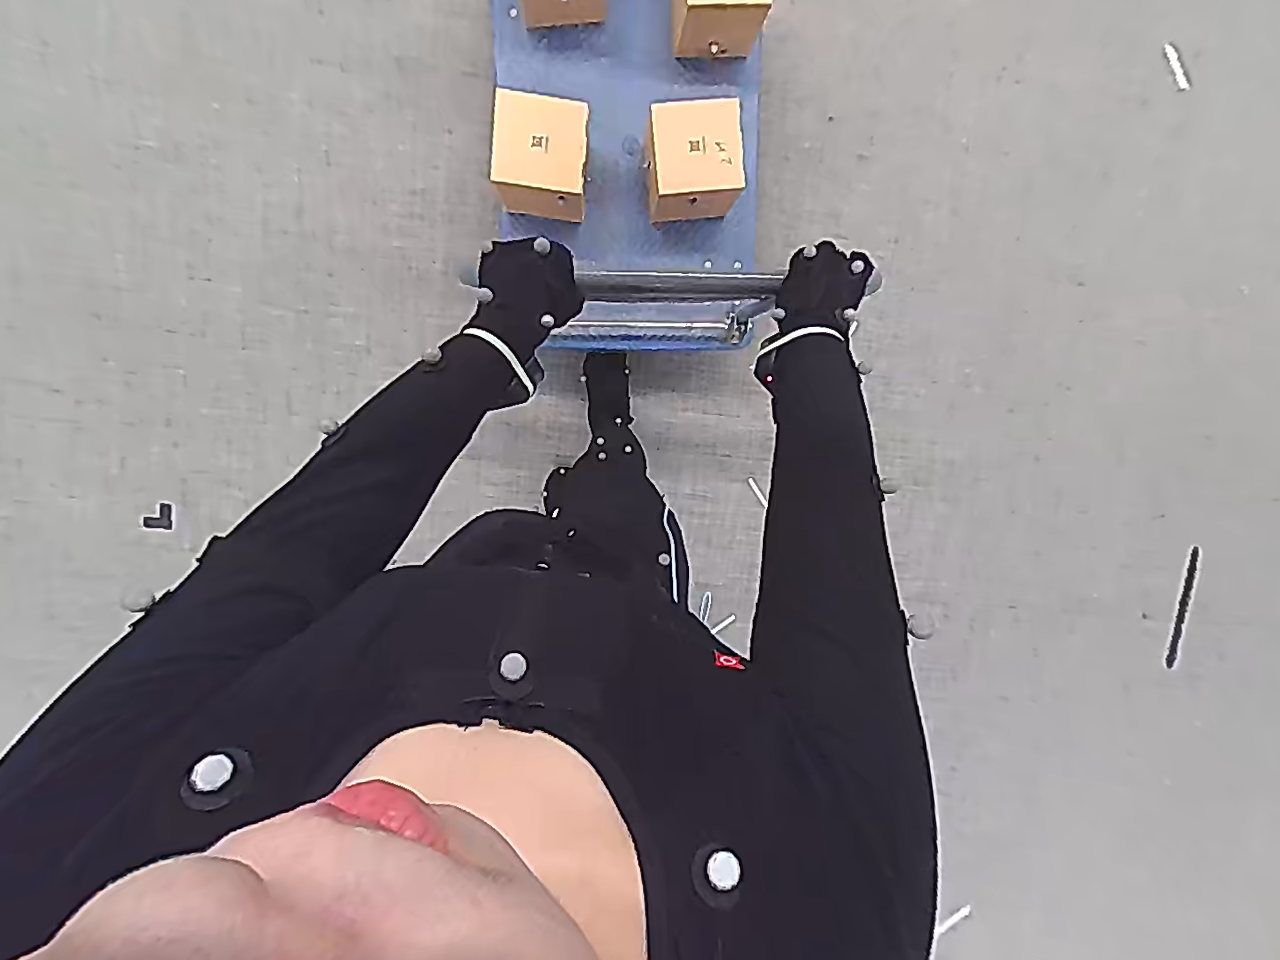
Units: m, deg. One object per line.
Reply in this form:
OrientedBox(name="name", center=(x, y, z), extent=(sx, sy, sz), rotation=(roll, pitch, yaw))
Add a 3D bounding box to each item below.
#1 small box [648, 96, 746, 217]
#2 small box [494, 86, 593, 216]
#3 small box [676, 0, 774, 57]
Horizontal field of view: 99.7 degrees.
OrientedBox(name="small box", center=(0.112, -0.666, 1.132), extent=(0.179, 0.176, 0.168), rotation=(-6, 99, -4))
OrientedBox(name="small box", center=(-0.192, -0.660, 1.108), extent=(0.179, 0.176, 0.168), rotation=(5, 98, -7))
OrientedBox(name="small box", center=(0.163, -0.998, 1.085), extent=(0.168, 0.176, 0.179), rotation=(-4, 100, -4))
